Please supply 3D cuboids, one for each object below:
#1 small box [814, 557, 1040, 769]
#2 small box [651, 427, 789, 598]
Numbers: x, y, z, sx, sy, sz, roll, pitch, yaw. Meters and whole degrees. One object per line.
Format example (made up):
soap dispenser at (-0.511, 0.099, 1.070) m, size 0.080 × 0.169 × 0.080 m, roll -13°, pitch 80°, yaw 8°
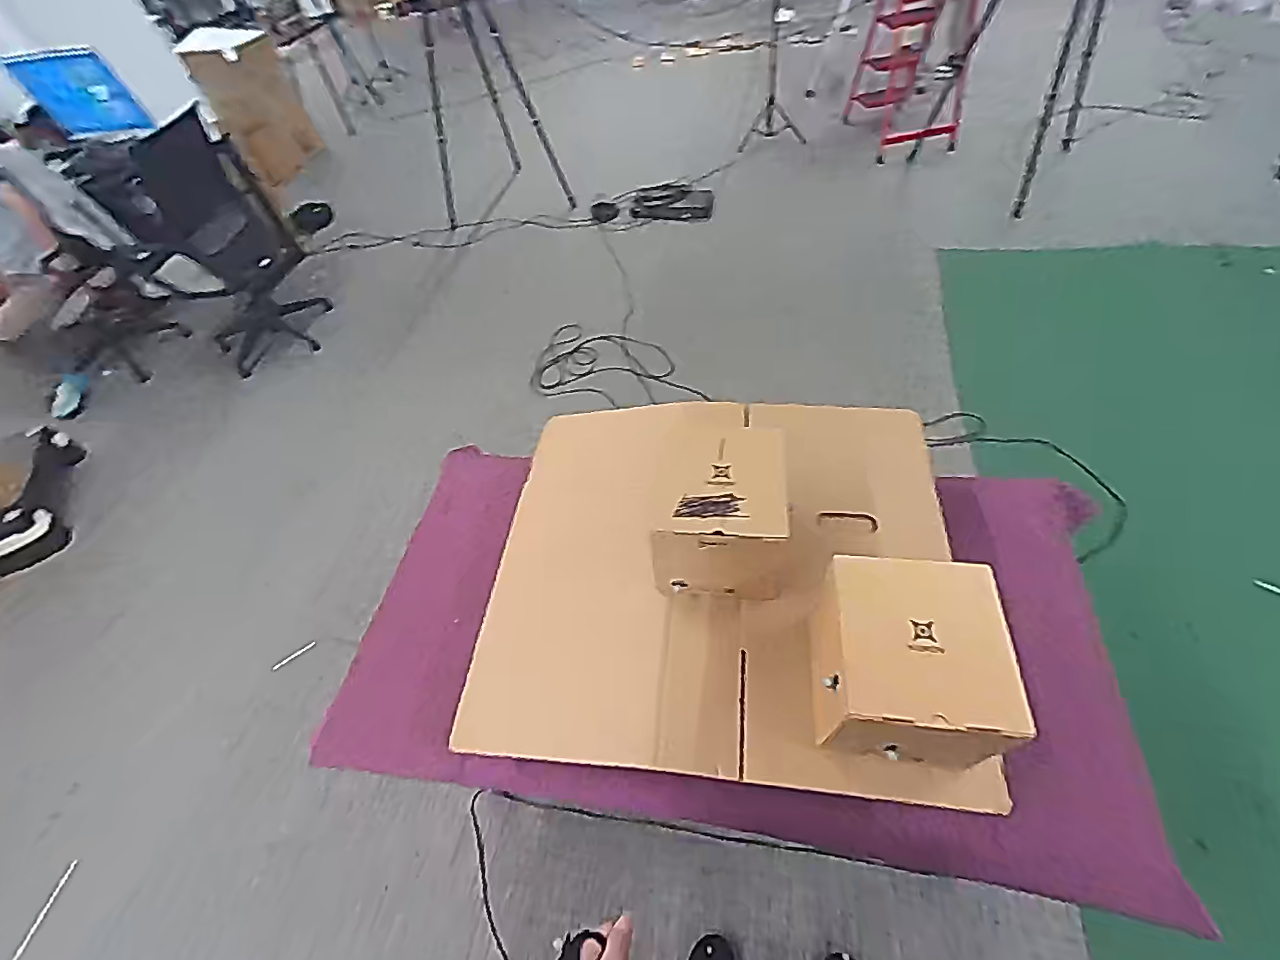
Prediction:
small box at (0.297, 0.207, 0.609) m, size 0.168 × 0.176 × 0.179 m, roll 3°, pitch 55°, yaw 8°
small box at (0.111, 0.048, 0.745) m, size 0.168 × 0.176 × 0.179 m, roll 3°, pitch 53°, yaw 8°
